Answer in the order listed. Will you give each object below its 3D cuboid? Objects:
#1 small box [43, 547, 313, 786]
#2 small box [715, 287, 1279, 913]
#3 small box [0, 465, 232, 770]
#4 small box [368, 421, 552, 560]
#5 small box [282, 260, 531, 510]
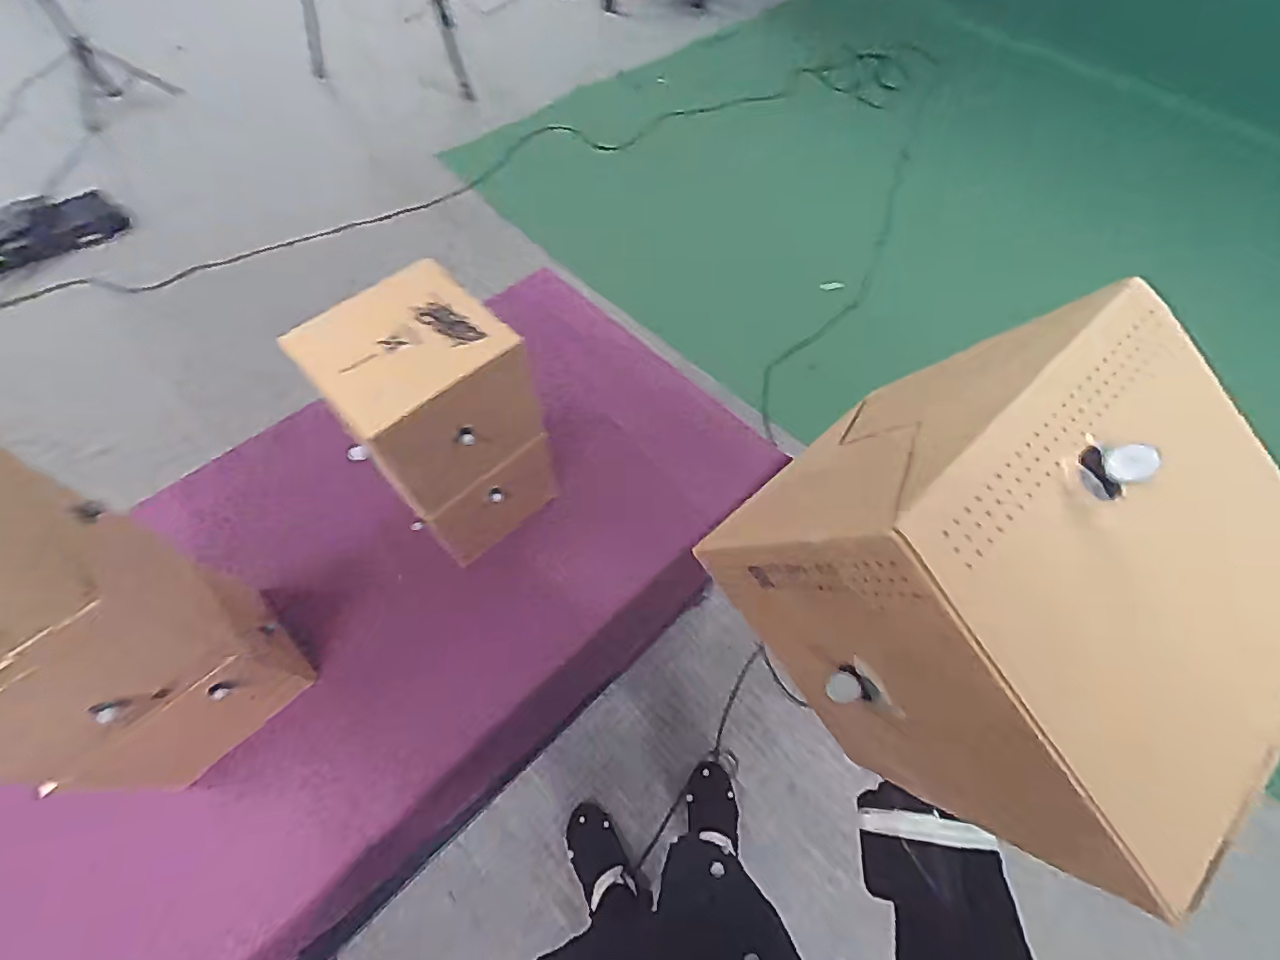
[{"bbox_3d":[-0.523,0.215,0.611,0.168,0.176,0.179,40,66,19],"label":"small box"},{"bbox_3d":[0.169,0.041,0.273,0.179,0.168,0.176,-36,92,-18],"label":"small box"},{"bbox_3d":[-0.518,0.127,0.471,0.179,0.176,0.168,40,67,19],"label":"small box"},{"bbox_3d":[-0.241,-0.019,0.749,0.179,0.176,0.168,-40,69,-21],"label":"small box"},{"bbox_3d":[-0.239,-0.100,0.606,0.168,0.176,0.179,41,68,19],"label":"small box"}]
